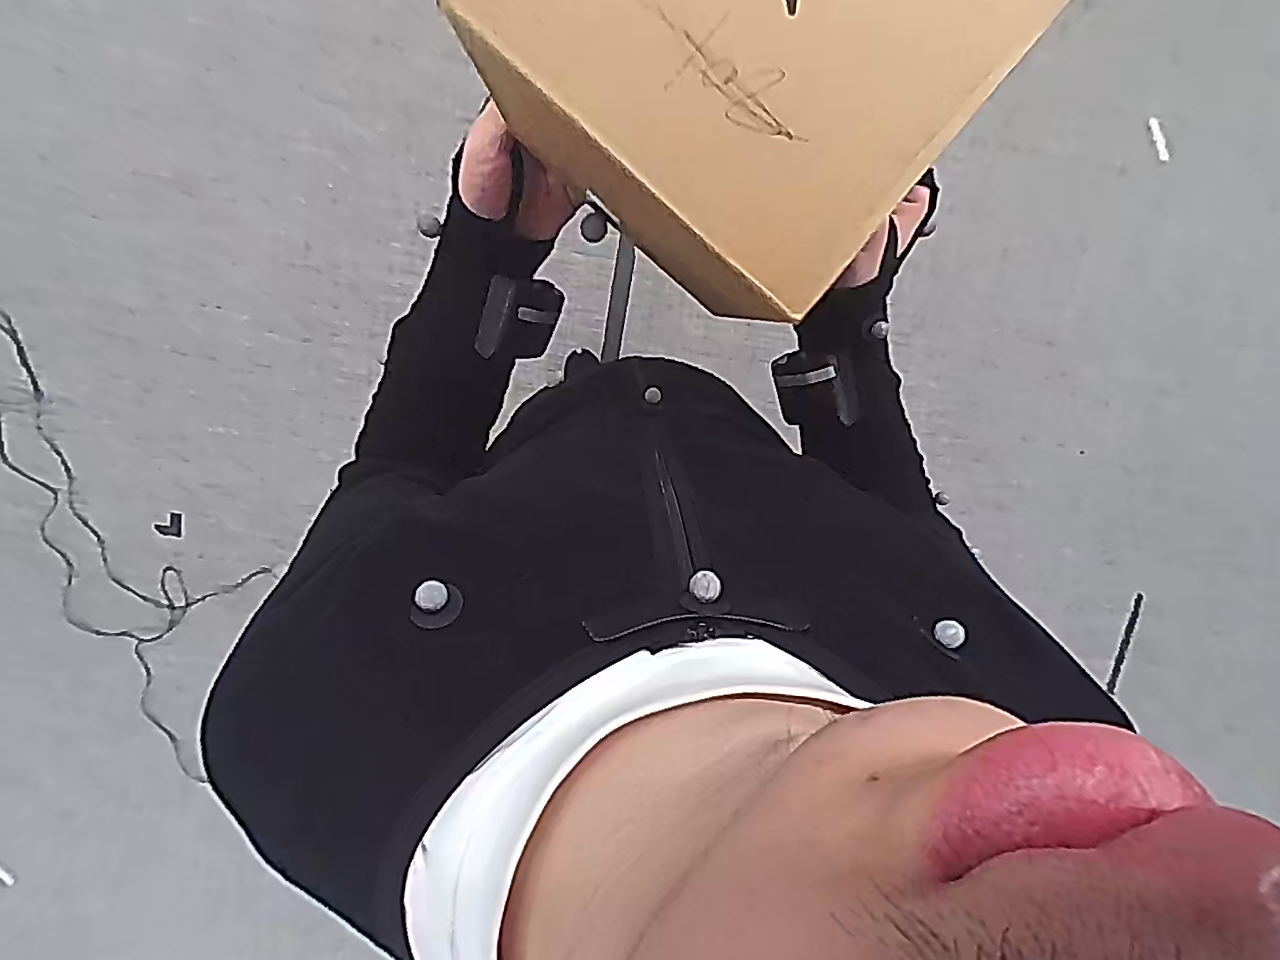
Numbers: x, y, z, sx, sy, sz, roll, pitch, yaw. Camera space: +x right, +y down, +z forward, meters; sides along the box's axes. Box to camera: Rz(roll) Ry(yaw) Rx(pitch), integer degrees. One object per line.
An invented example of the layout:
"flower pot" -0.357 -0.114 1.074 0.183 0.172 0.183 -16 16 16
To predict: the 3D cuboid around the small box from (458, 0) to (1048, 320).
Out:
"small box" 0.045 -0.202 0.265 0.168 0.176 0.179 36 103 -12
